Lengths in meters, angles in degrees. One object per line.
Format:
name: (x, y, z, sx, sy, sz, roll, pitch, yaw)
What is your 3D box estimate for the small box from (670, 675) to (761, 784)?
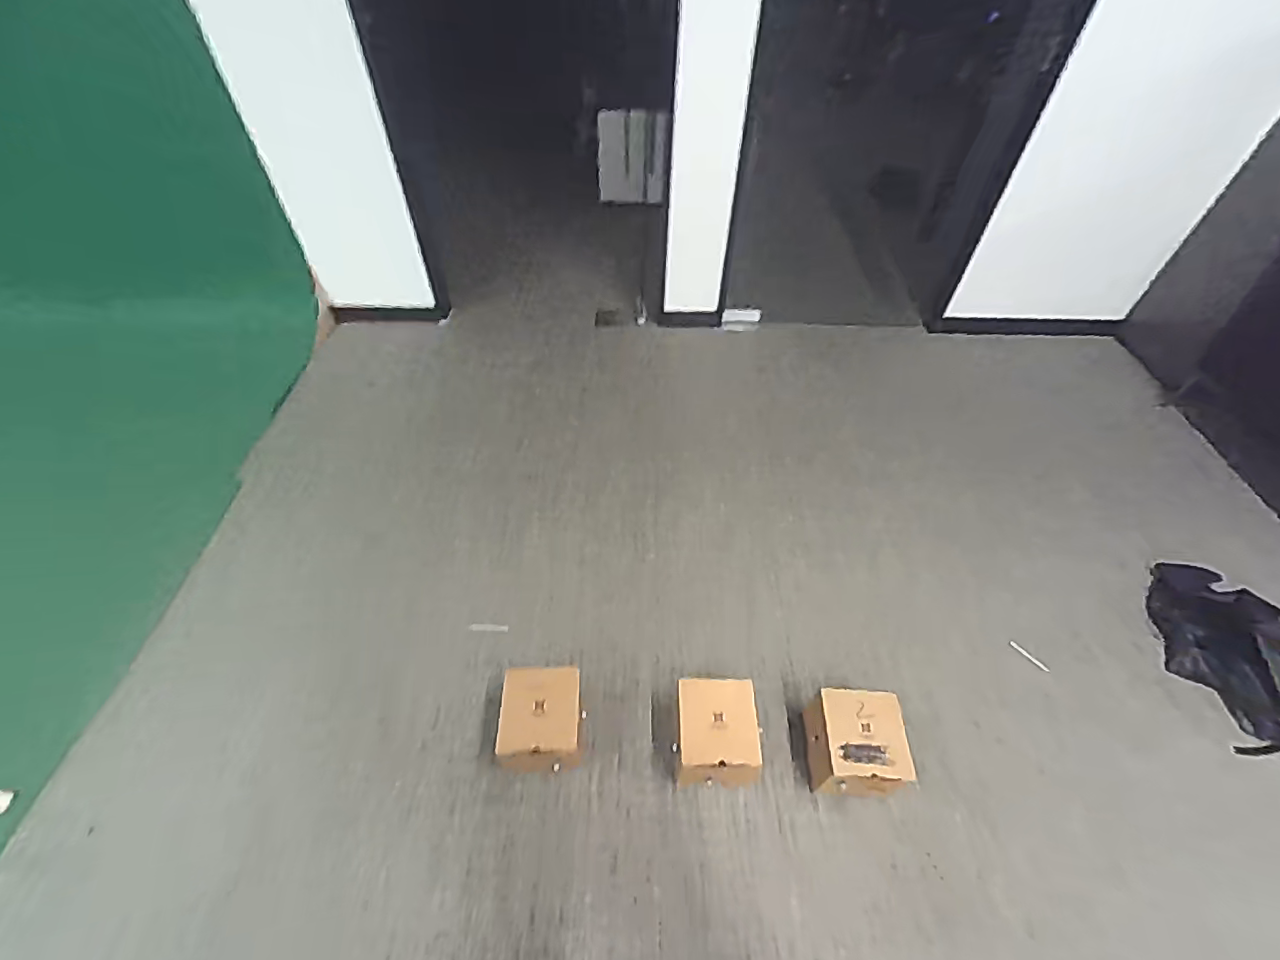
small box: (0.155, 0.544, 1.177, 0.168, 0.176, 0.179, 2, 49, -1)

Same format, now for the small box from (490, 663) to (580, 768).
small box: (-0.220, 0.519, 1.184, 0.168, 0.176, 0.179, 0, 48, -3)
